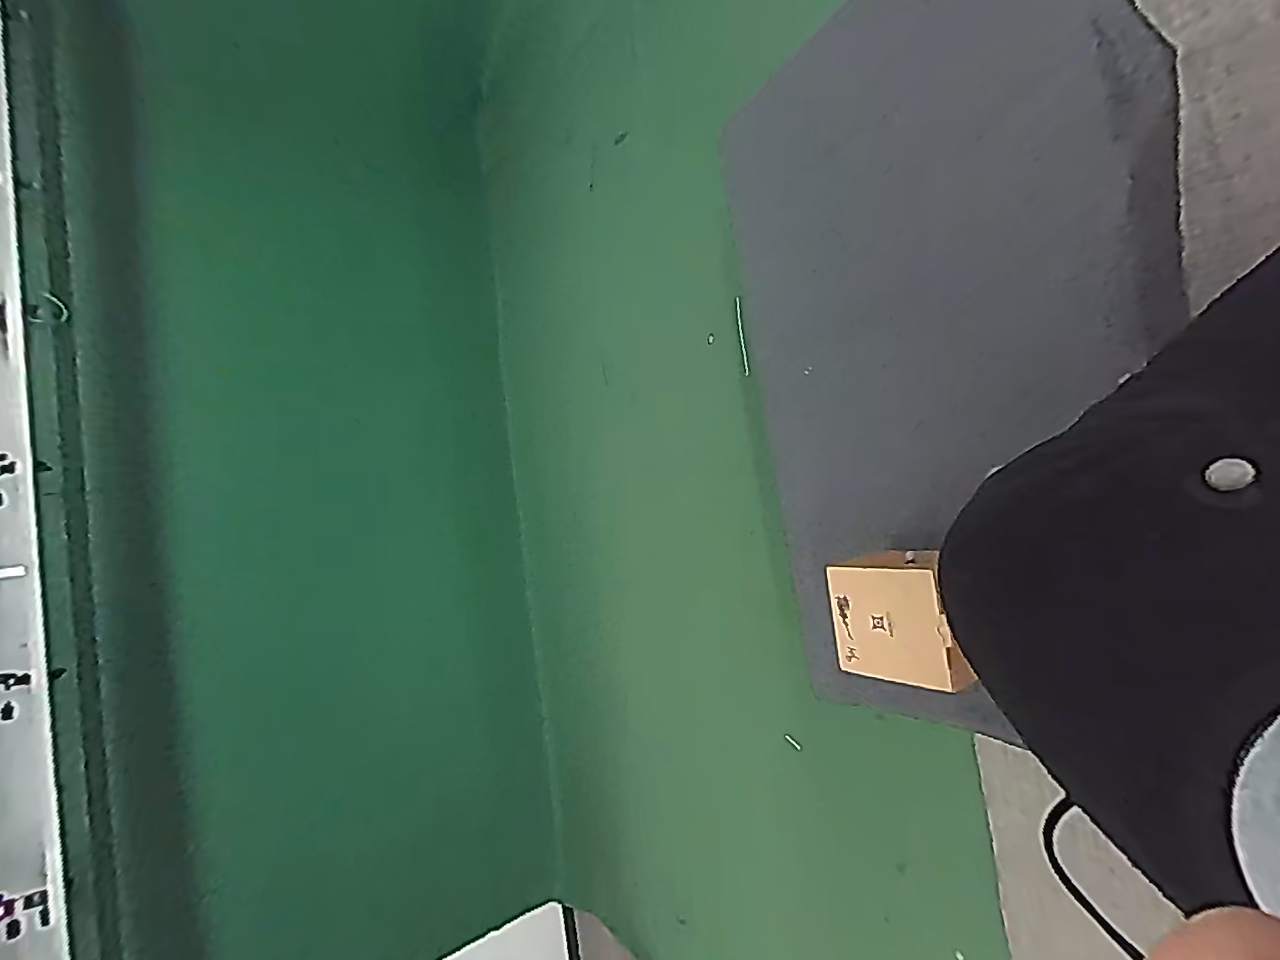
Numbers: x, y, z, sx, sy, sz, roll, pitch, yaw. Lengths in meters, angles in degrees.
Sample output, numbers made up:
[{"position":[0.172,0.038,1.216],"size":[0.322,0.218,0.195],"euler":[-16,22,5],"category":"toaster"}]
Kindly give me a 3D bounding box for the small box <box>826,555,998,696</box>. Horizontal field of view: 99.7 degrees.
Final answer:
[{"position":[0.417,0.208,0.825],"size":[0.179,0.176,0.168],"euler":[-11,84,54],"category":"small box"}]
